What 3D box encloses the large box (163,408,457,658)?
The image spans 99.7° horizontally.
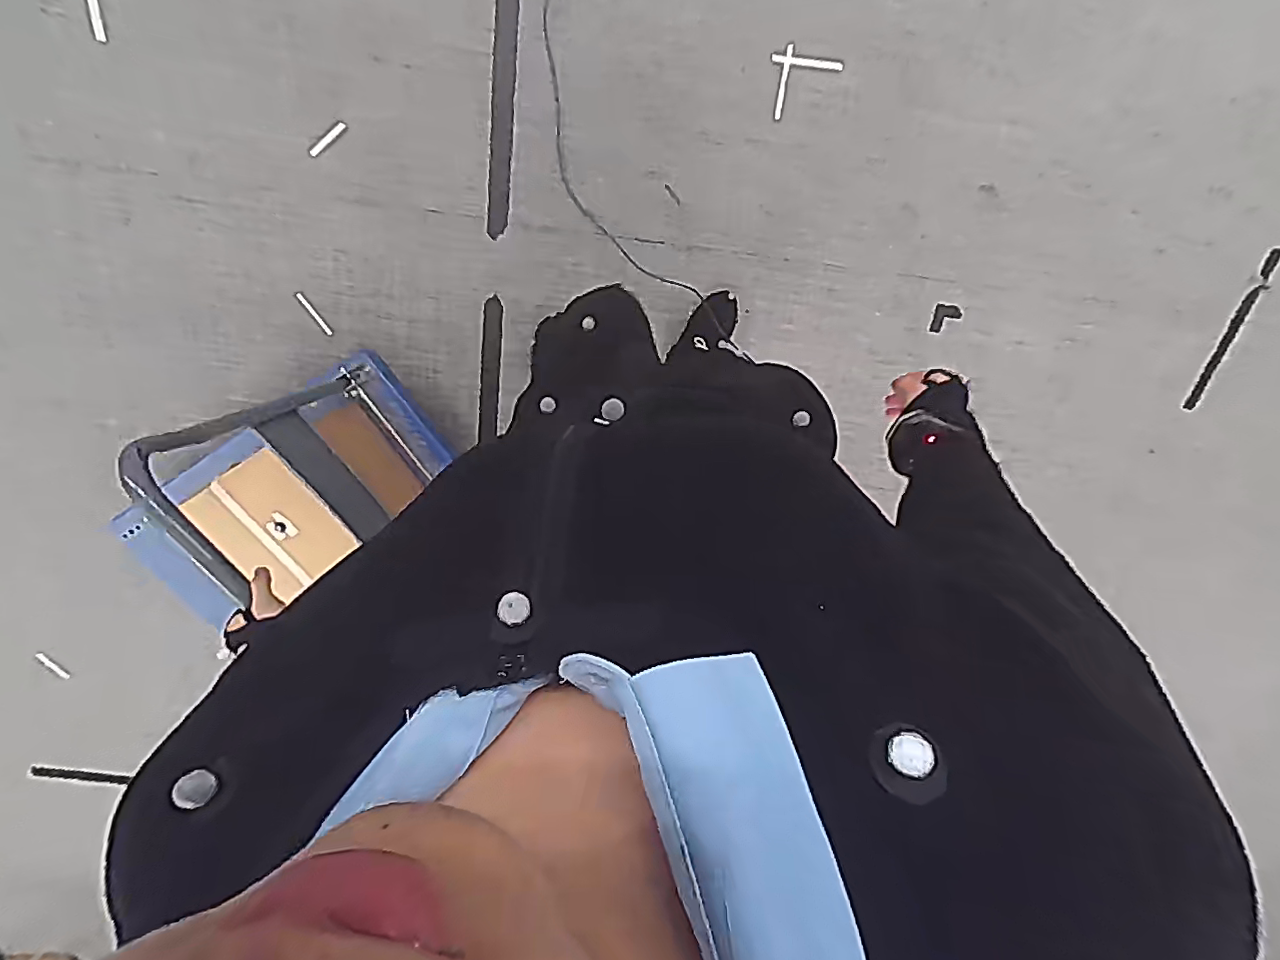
[{"bbox_3d":[-0.696,0.108,1.220,0.320,0.320,0.408,-29,108,10],"label":"large box"}]
